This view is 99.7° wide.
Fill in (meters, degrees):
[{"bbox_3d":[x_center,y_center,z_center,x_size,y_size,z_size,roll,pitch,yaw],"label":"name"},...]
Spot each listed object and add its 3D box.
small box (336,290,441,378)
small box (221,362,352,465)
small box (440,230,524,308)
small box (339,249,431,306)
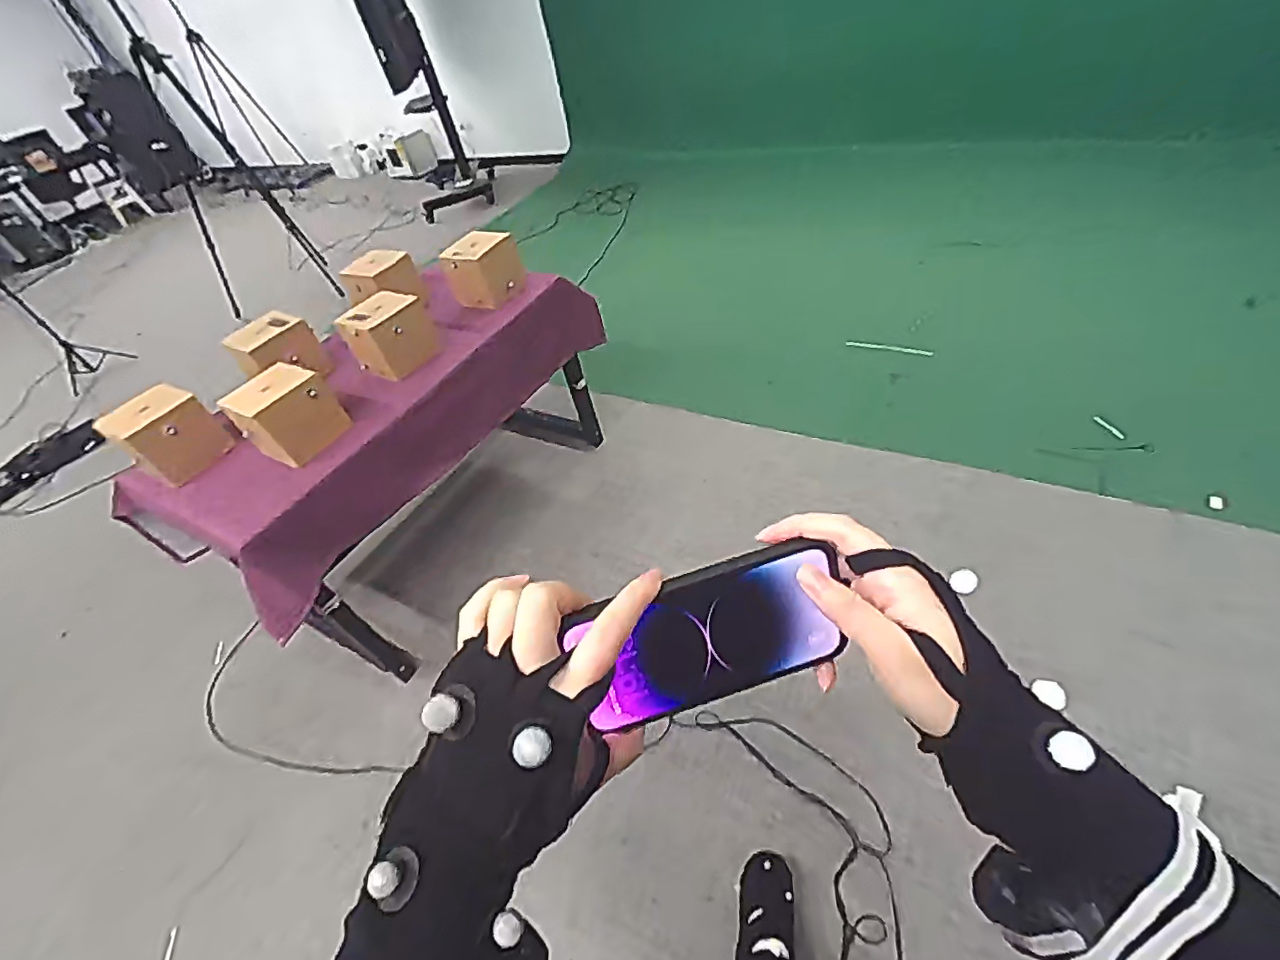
[{"bbox_3d":[-0.698,-0.409,1.522,0.168,0.176,0.179,19,53,29],"label":"small box"},{"bbox_3d":[-0.856,-0.162,1.326,0.168,0.176,0.179,17,52,28],"label":"small box"},{"bbox_3d":[-0.491,-0.673,1.723,0.168,0.176,0.179,15,52,27],"label":"small box"},{"bbox_3d":[-0.831,-0.639,1.773,0.179,0.176,0.168,14,52,25],"label":"small box"}]
